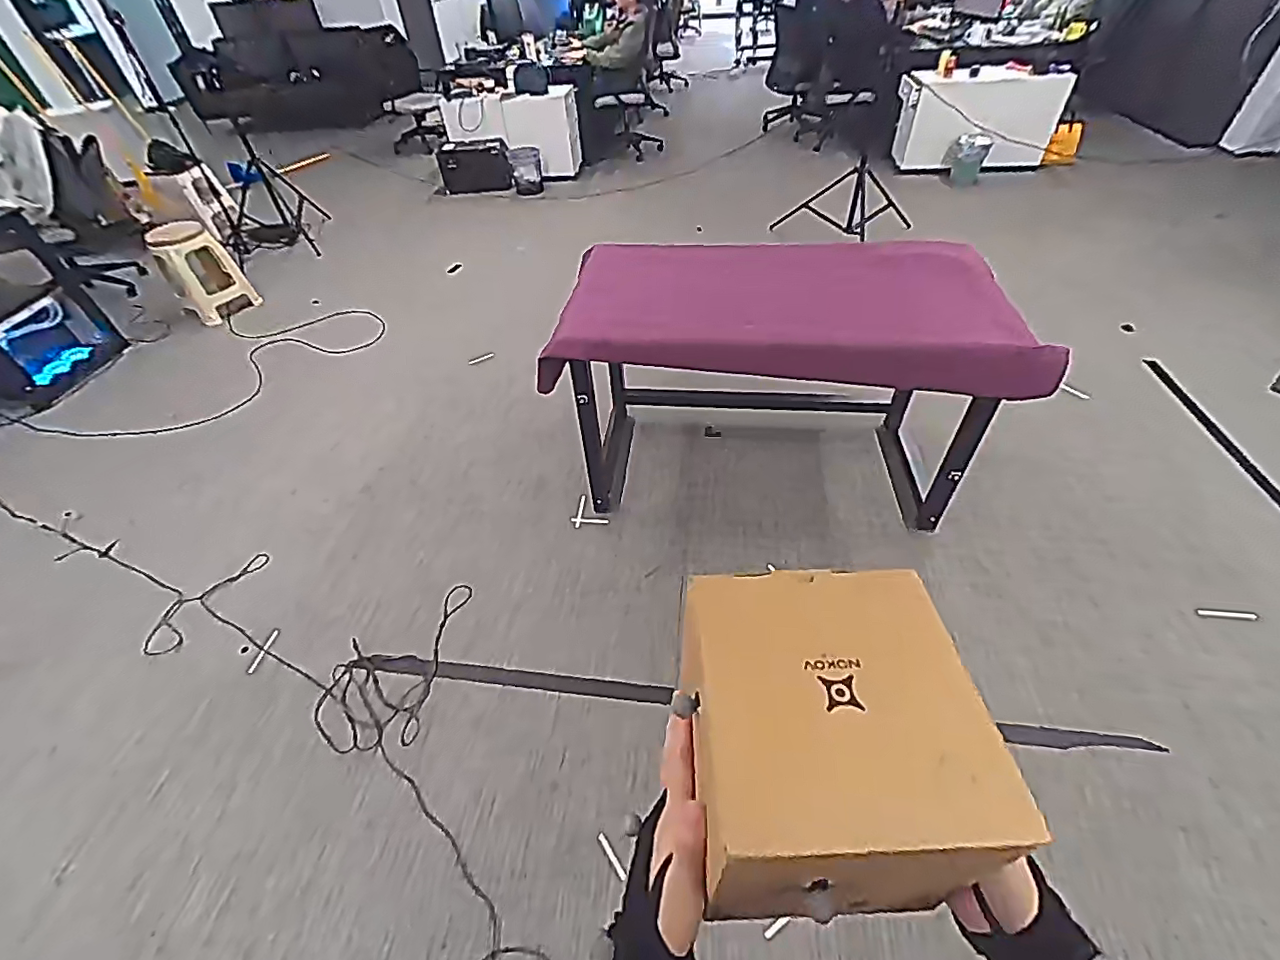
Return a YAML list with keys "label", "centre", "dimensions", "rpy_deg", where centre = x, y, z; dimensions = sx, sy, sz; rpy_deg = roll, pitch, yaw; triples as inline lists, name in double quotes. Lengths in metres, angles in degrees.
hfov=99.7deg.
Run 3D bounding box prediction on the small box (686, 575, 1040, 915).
- label: "small box"
  centre: [0.124, 0.190, 0.388]
  dimensions: [0.168, 0.176, 0.179]
  rpy_deg: [-1, 41, -1]
